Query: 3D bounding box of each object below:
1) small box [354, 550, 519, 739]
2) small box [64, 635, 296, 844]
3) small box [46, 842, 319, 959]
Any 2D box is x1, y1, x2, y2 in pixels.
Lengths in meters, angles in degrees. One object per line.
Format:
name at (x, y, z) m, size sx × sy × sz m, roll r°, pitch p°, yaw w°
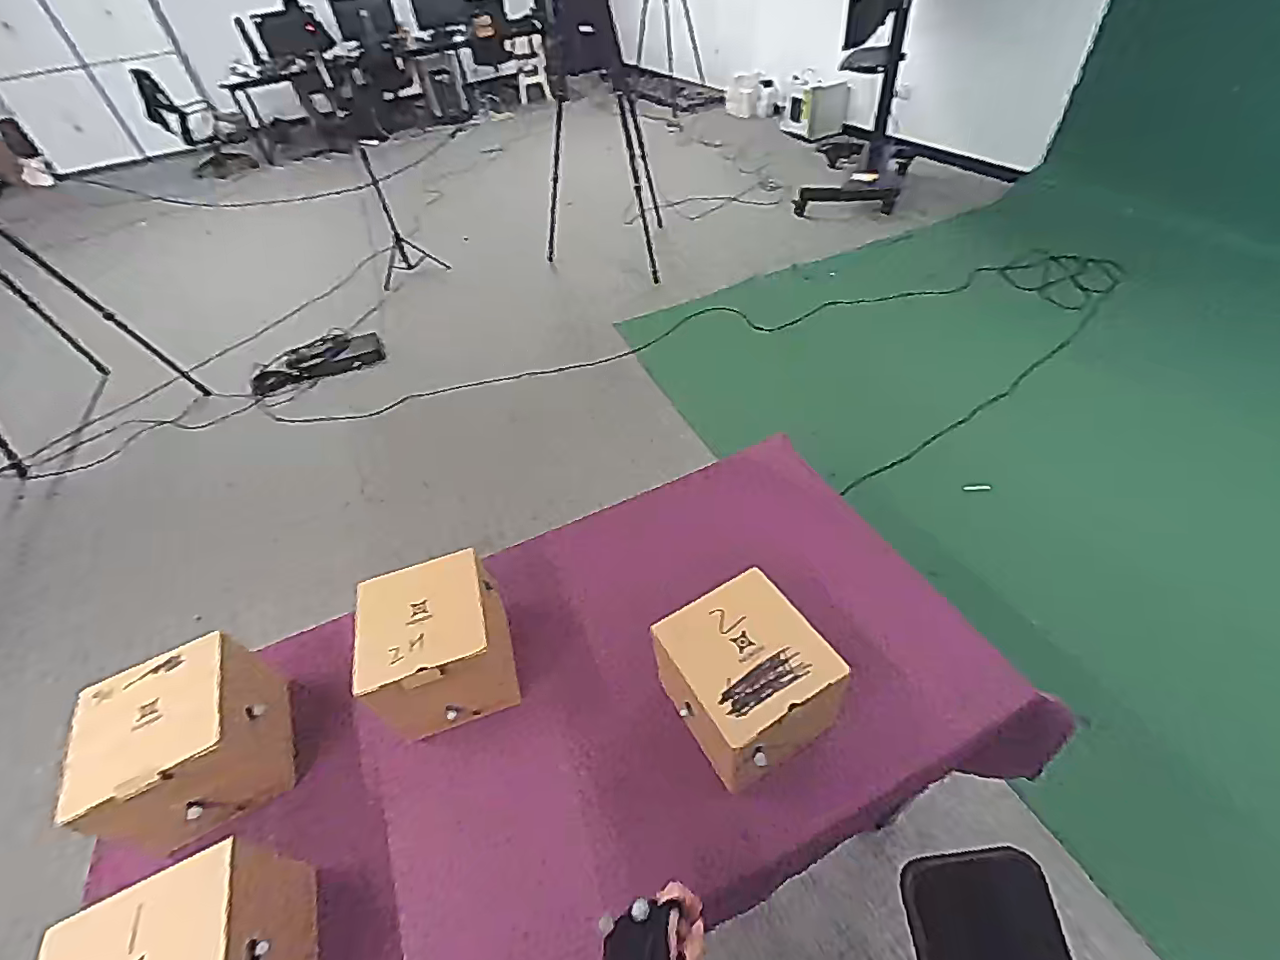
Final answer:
small box at (-0.285, 0.236, 0.778) m, size 0.168 × 0.176 × 0.179 m, roll -18°, pitch 47°, yaw -8°
small box at (-0.586, 0.348, 0.716) m, size 0.168 × 0.176 × 0.179 m, roll -25°, pitch 49°, yaw -16°
small box at (-0.444, 0.510, 0.539) m, size 0.168 × 0.176 × 0.179 m, roll -23°, pitch 46°, yaw -14°
